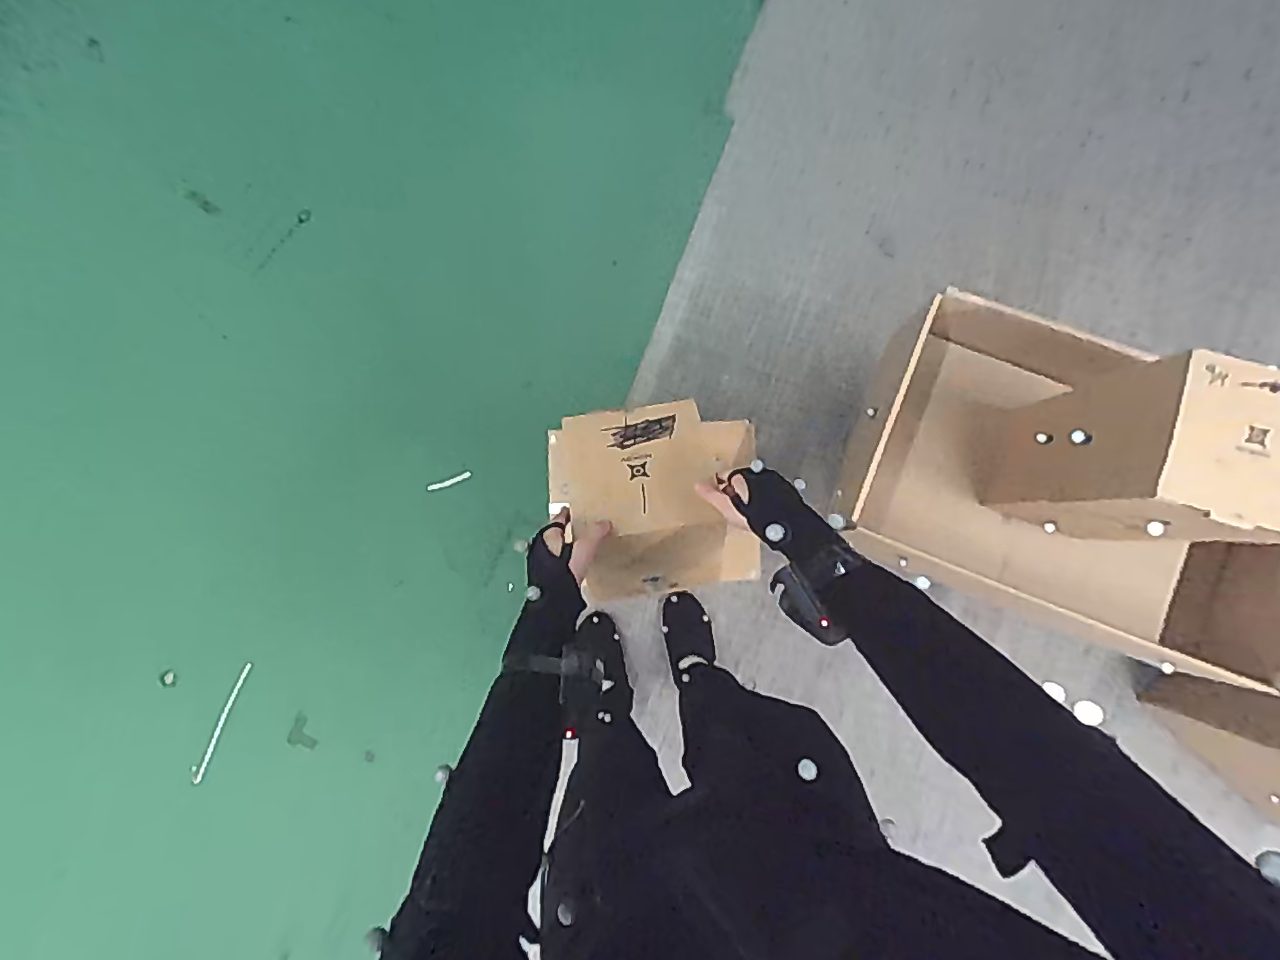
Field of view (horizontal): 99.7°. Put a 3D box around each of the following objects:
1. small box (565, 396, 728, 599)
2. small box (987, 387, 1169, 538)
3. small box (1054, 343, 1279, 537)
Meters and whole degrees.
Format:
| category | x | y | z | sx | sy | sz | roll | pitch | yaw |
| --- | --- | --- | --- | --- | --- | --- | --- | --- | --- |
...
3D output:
| category | x | y | z | sx | sy | sz | roll | pitch | yaw |
| --- | --- | --- | --- | --- | --- | --- | --- | --- | --- |
| small box | 0.004 | 0.024 | 0.669 | 0.168 | 0.176 | 0.179 | -9 | 55 | -2 |
| small box | 0.671 | -0.023 | 0.822 | 0.168 | 0.176 | 0.179 | 20 | 87 | 6 |
| small box | 0.656 | -0.038 | 0.659 | 0.168 | 0.176 | 0.179 | 18 | 87 | 5 |
